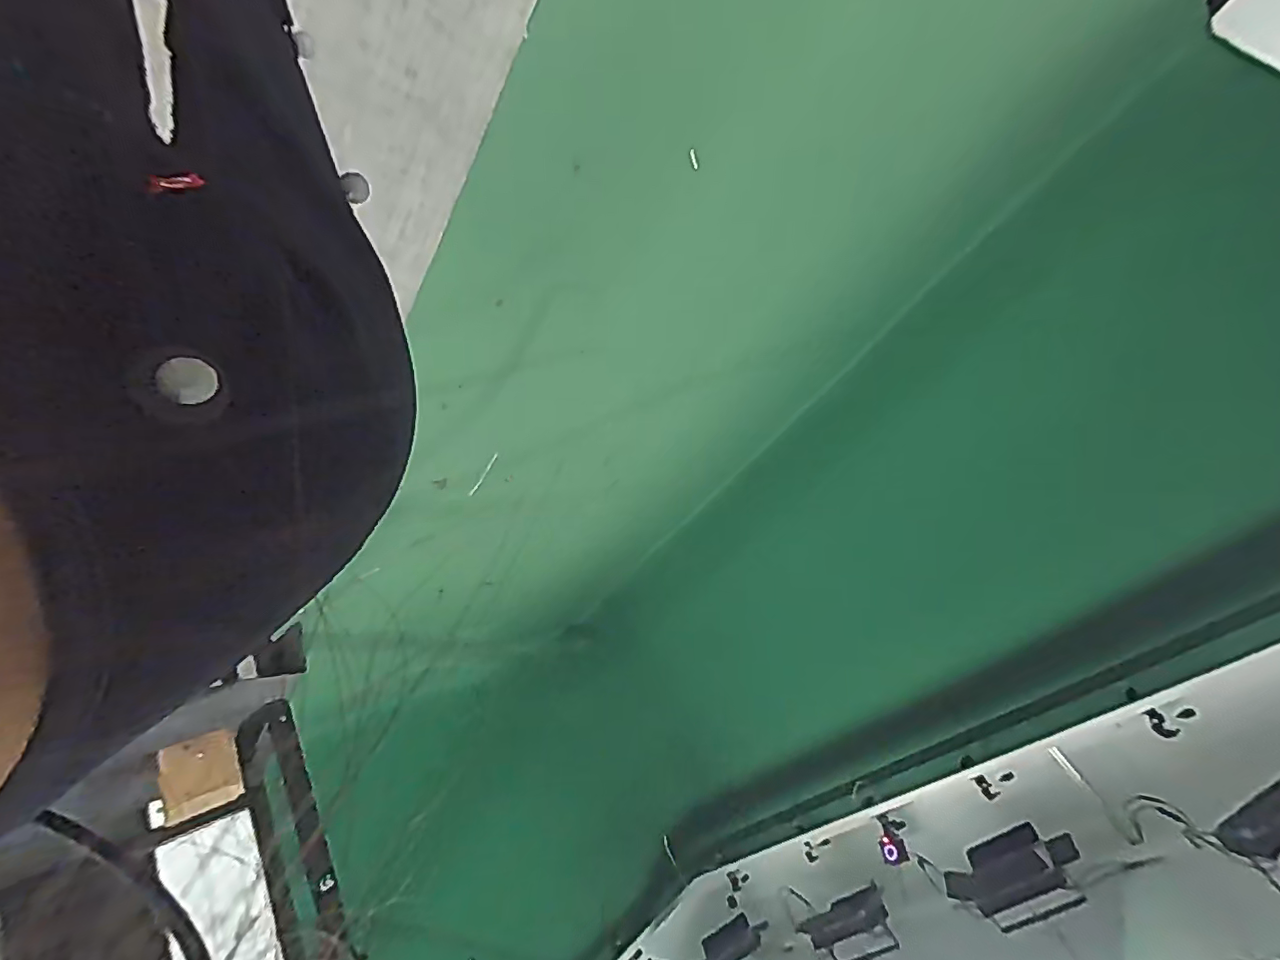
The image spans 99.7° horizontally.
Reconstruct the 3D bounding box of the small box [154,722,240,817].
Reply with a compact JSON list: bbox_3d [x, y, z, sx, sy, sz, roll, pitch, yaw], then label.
[{"bbox_3d":[-1.285,0.832,1.567,0.168,0.176,0.179,-7,147,-47],"label":"small box"}]
